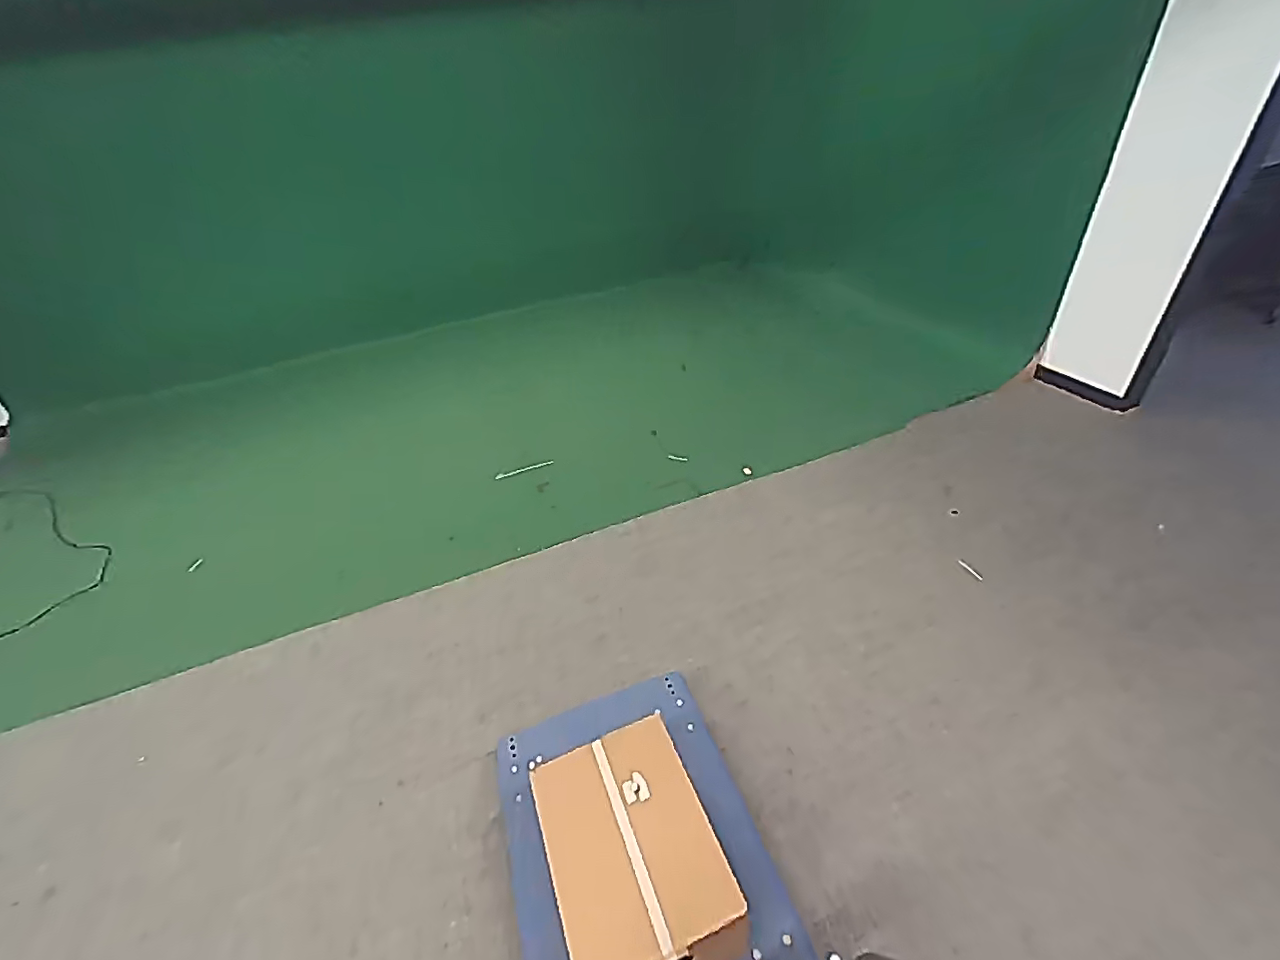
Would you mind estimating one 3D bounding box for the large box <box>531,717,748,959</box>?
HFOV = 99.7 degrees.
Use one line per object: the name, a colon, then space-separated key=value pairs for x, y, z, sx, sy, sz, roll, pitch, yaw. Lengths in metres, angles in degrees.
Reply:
large box: x=-0.005 y=0.817 z=1.157 sx=0.320 sy=0.320 sz=0.408 roll=-19 pitch=38 yaw=-14
